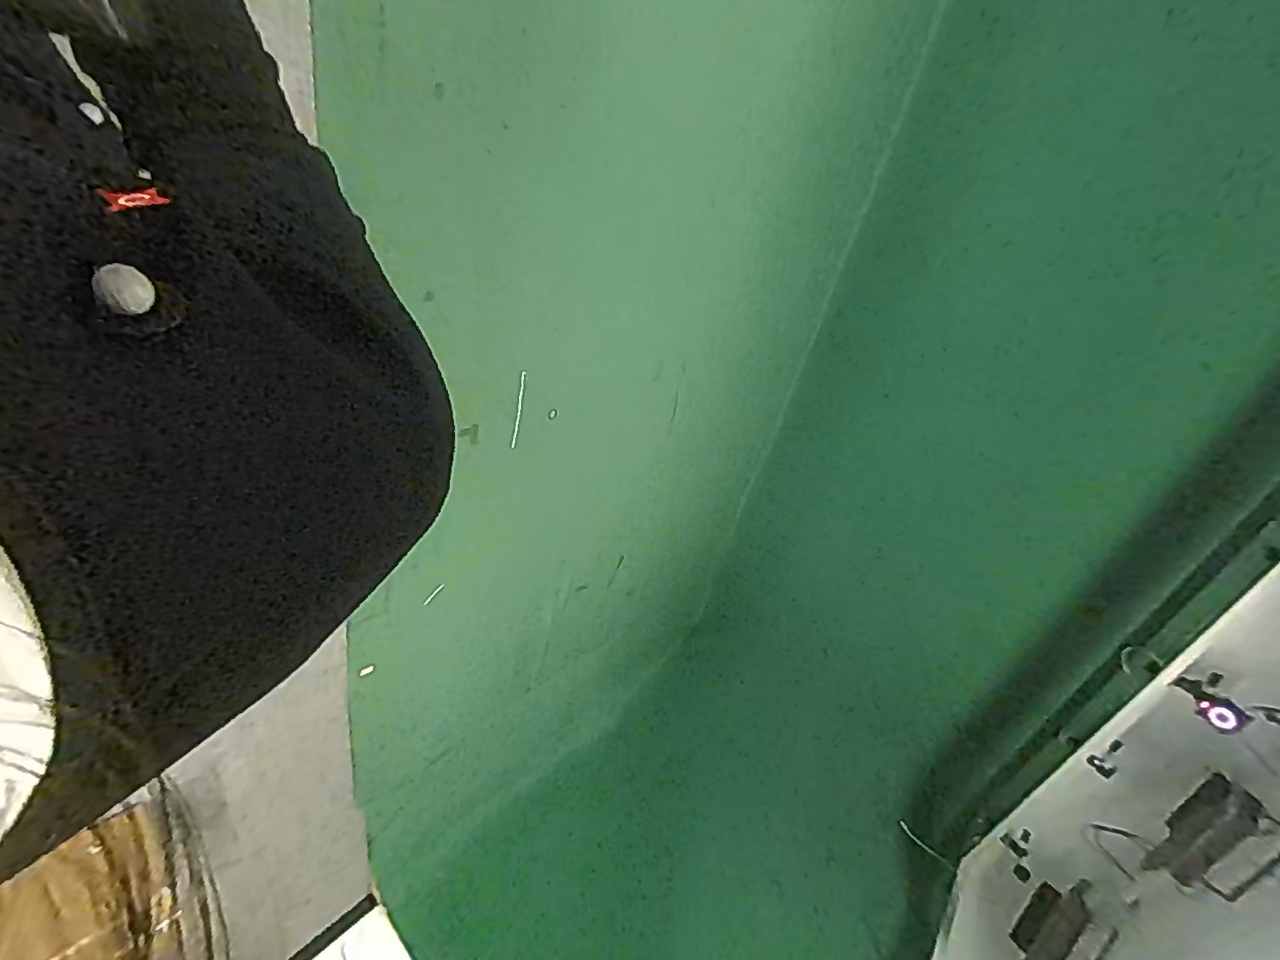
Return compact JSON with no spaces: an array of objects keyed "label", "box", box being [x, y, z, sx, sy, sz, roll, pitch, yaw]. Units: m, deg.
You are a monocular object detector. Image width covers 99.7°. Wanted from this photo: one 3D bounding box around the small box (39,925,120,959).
[{"label":"small box","box":[-1.429,1.288,1.368,0.168,0.176,0.179,-20,134,-48]}]
